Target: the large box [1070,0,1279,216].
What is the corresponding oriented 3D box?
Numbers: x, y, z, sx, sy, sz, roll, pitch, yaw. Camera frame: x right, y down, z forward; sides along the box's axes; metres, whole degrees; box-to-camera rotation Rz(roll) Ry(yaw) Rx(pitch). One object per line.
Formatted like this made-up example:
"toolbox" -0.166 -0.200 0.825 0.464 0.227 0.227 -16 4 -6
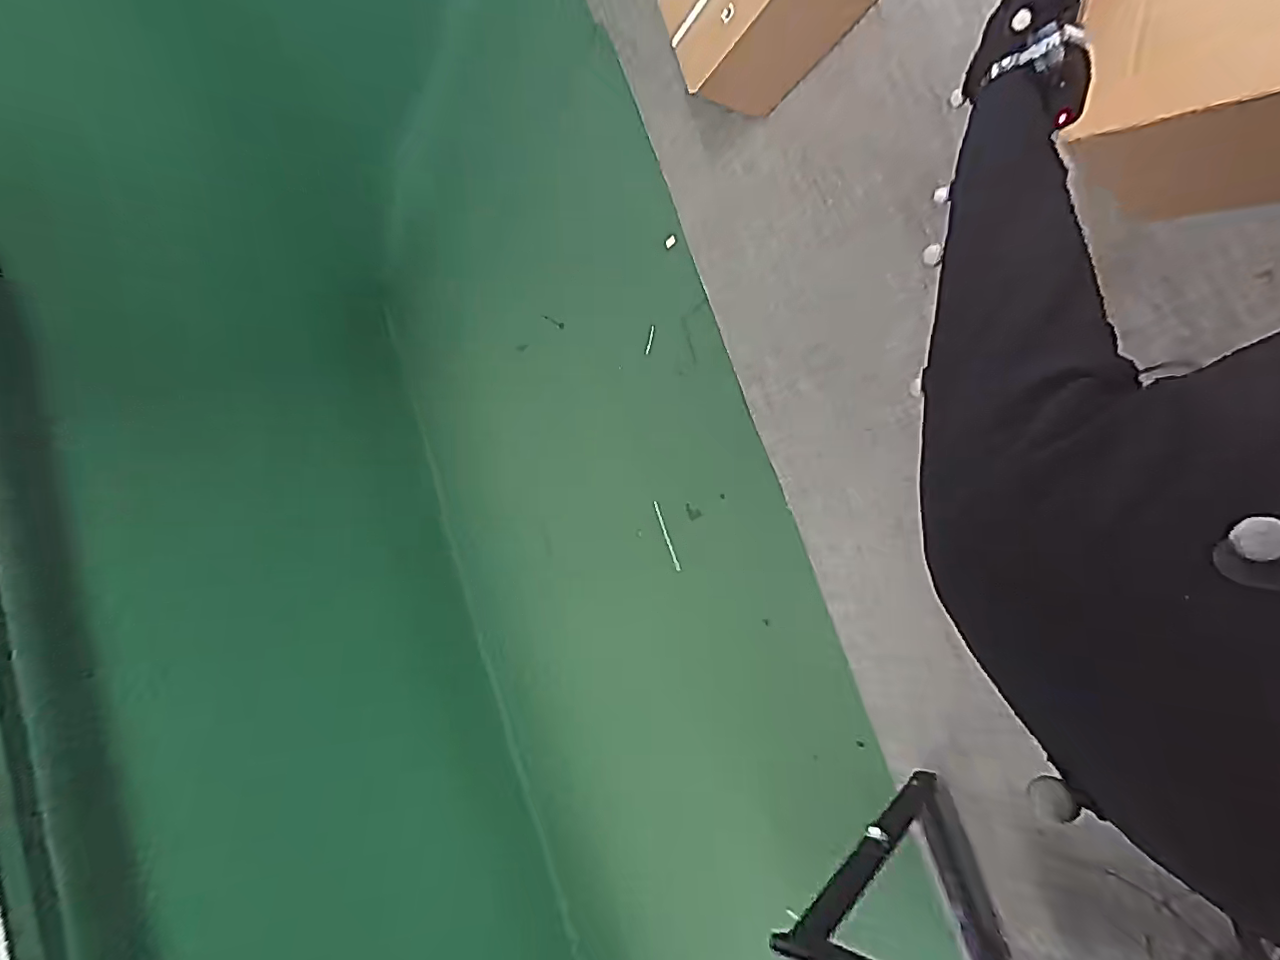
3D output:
"large box" 0.652 -0.456 0.441 0.408 0.320 0.320 14 103 47
